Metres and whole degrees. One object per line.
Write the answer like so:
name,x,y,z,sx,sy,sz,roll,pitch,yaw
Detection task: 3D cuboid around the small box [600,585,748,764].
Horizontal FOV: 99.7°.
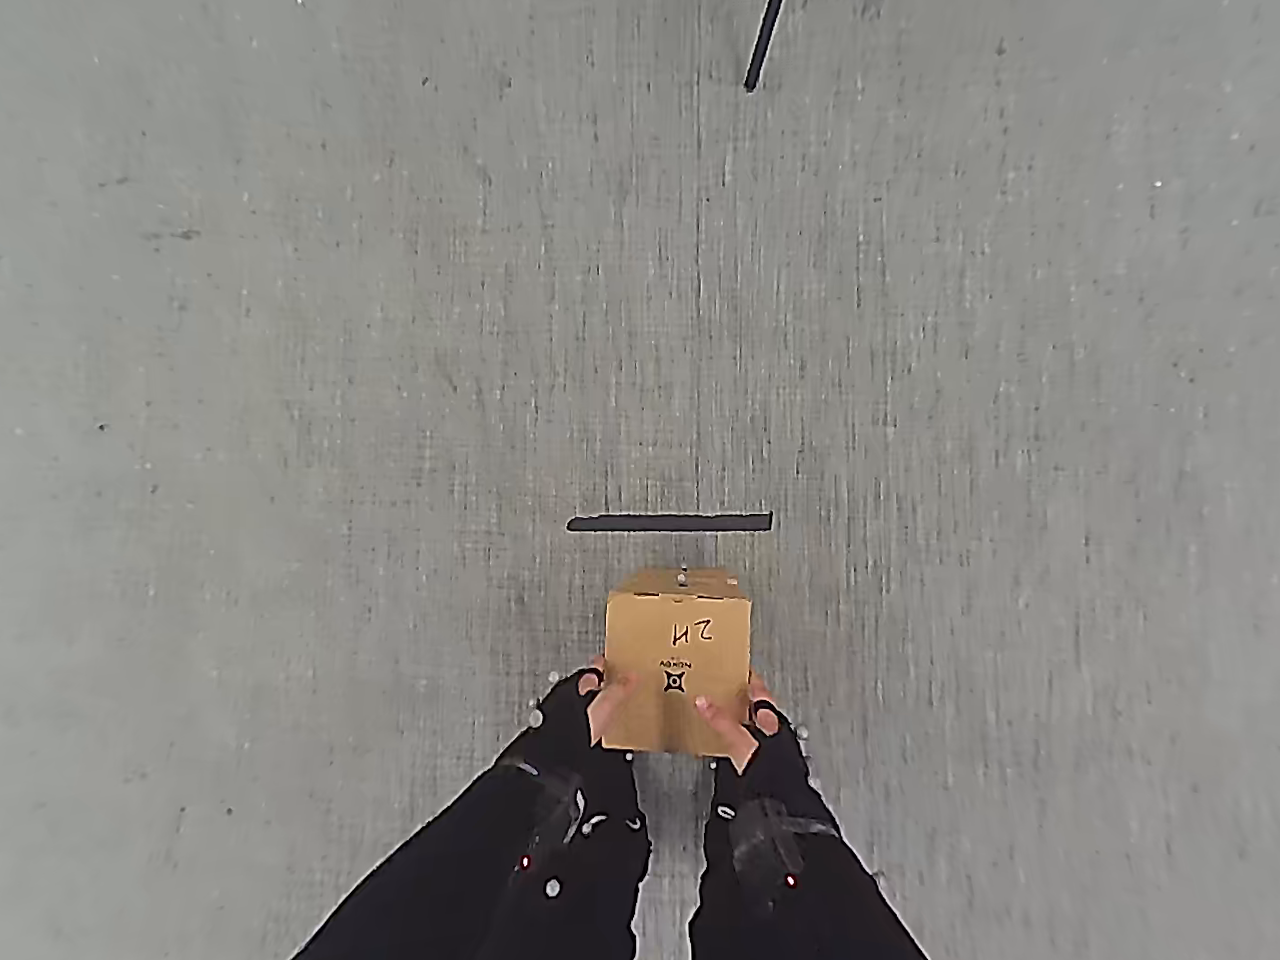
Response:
small box,0.047,0.230,0.681,0.168,0.176,0.179,0,83,6
